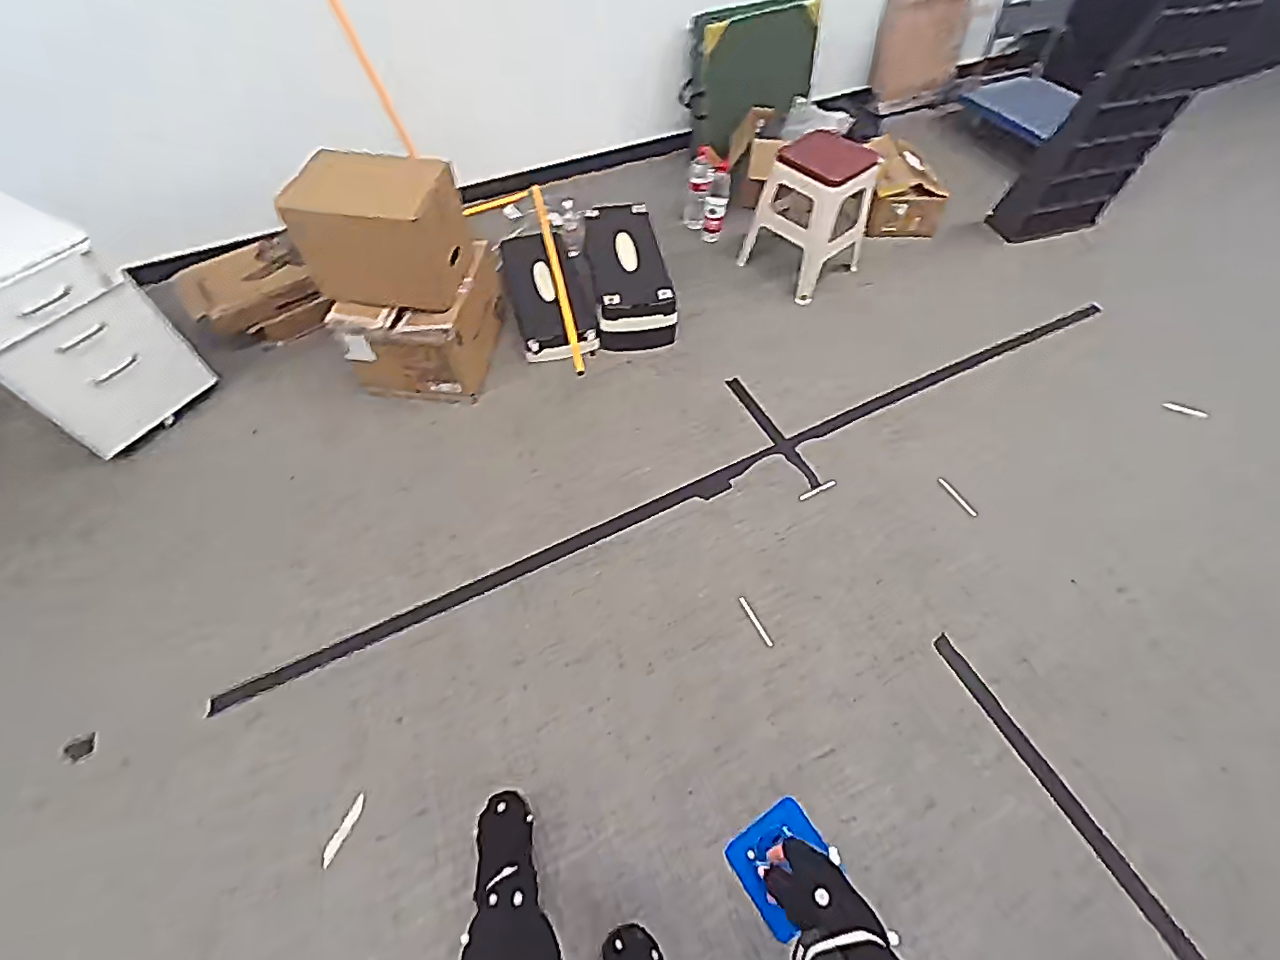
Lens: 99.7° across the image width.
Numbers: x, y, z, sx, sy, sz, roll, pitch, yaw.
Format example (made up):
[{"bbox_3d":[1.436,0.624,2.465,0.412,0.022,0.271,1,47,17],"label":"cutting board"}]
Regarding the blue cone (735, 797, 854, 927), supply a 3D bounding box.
[{"bbox_3d":[0.322,0.729,1.030,0.192,0.380,0.193,-27,60,-17],"label":"blue cone"}]
